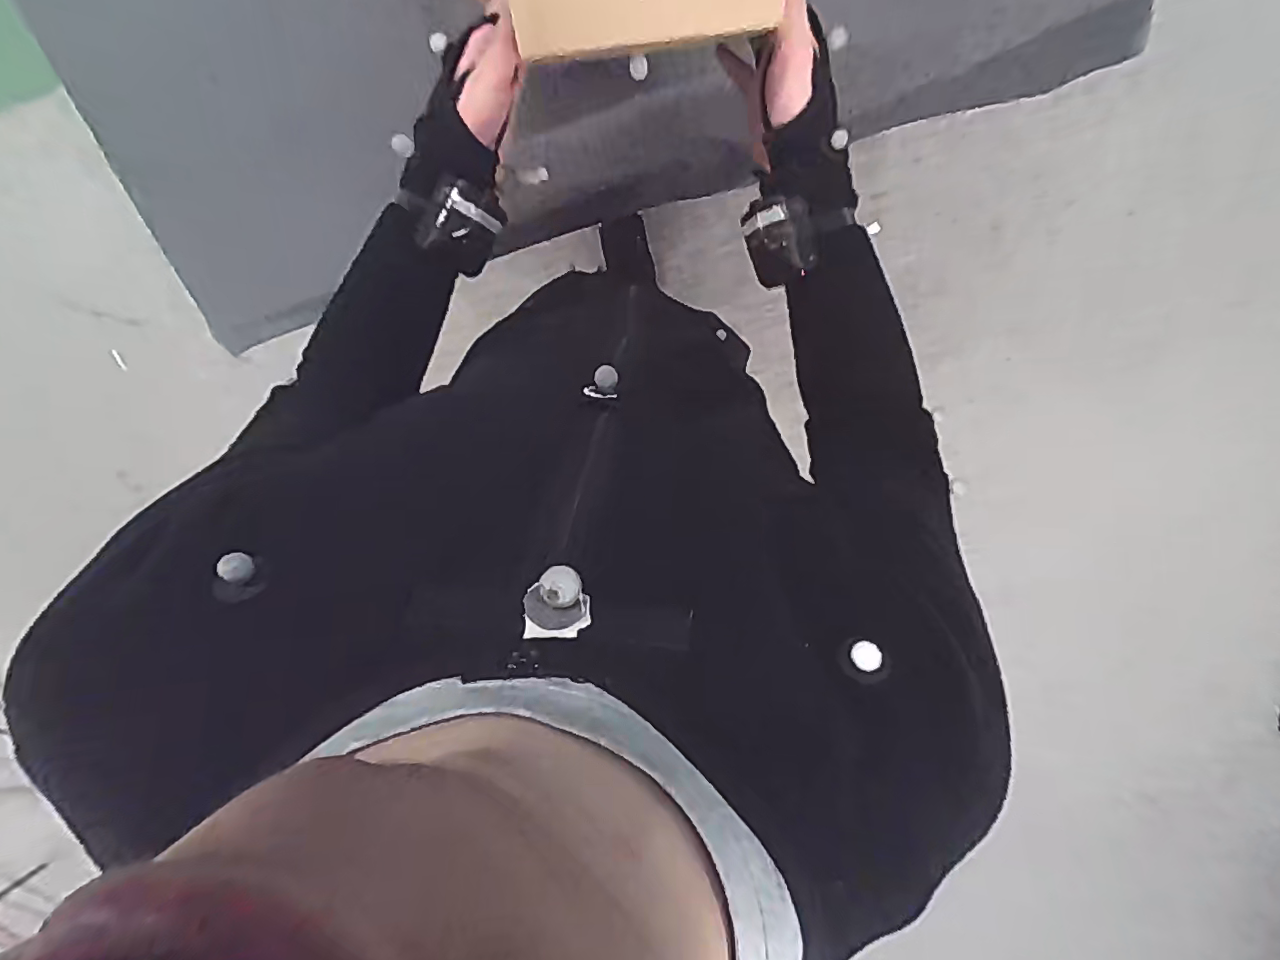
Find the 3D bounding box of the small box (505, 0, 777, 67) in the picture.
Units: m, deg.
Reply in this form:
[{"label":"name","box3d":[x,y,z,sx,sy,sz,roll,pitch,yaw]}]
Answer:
[{"label":"small box","box3d":[-0.008,-0.386,0.348,0.168,0.176,0.179,-6,127,3]}]
